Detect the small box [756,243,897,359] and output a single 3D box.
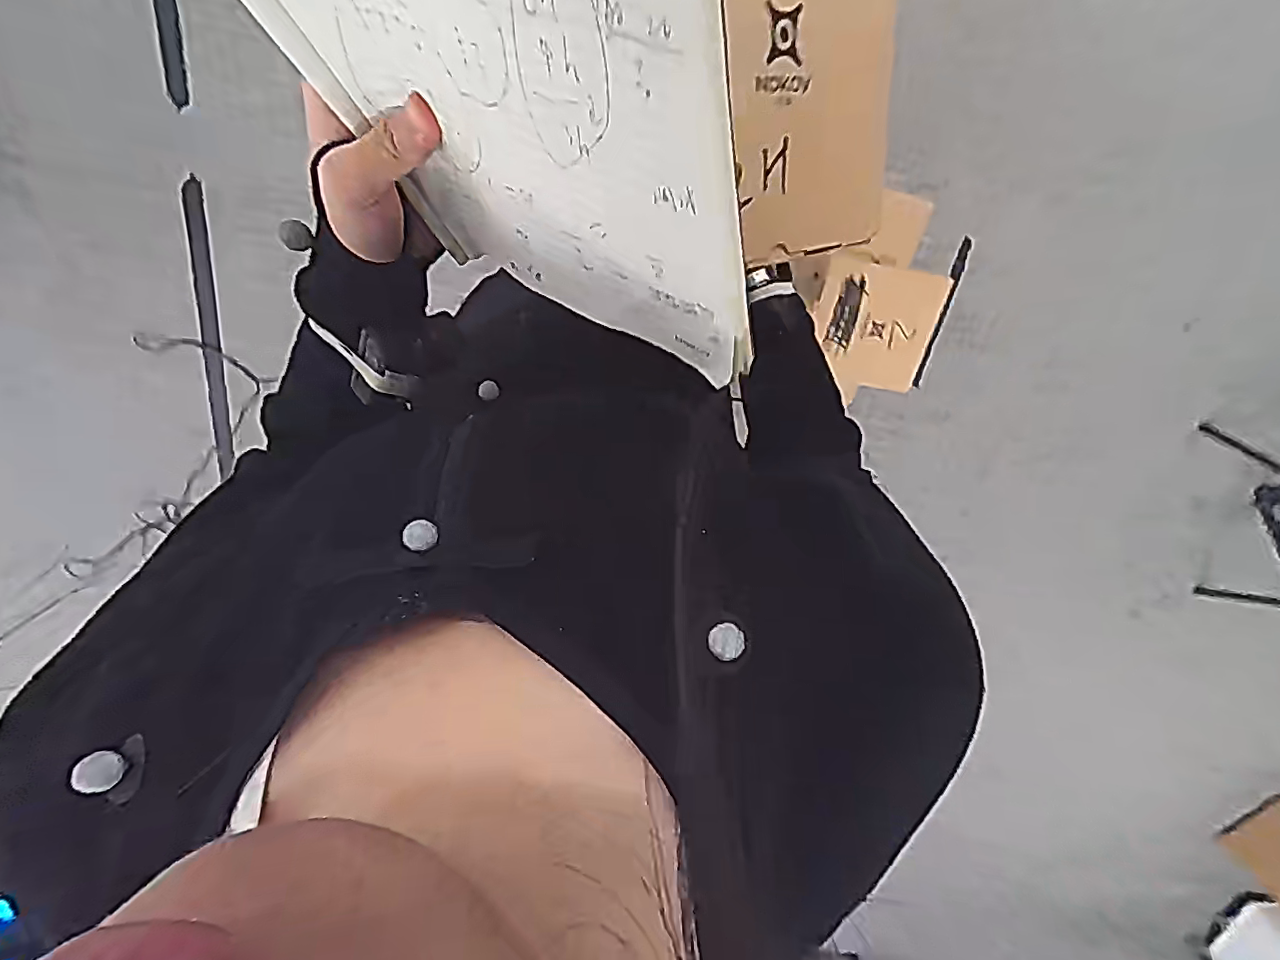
[{"bbox_3d":[0.322,-0.330,0.980,0.179,0.176,0.168,7,116,-3],"label":"small box"}]
